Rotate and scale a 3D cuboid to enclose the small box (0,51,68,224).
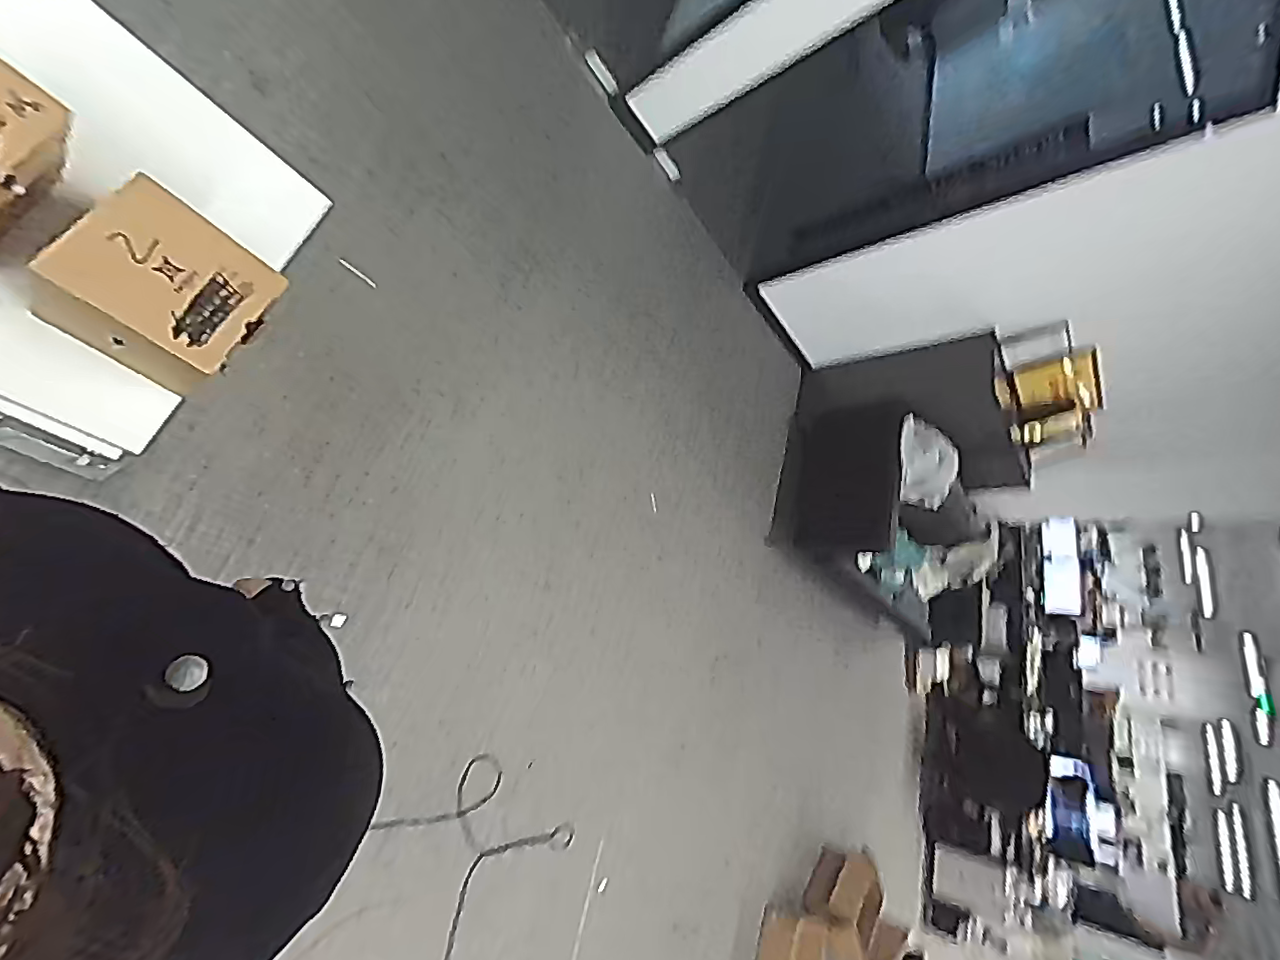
[{"bbox_3d":[-0.739,-0.366,0.537,0.179,0.176,0.168,39,59,-41],"label":"small box"}]
